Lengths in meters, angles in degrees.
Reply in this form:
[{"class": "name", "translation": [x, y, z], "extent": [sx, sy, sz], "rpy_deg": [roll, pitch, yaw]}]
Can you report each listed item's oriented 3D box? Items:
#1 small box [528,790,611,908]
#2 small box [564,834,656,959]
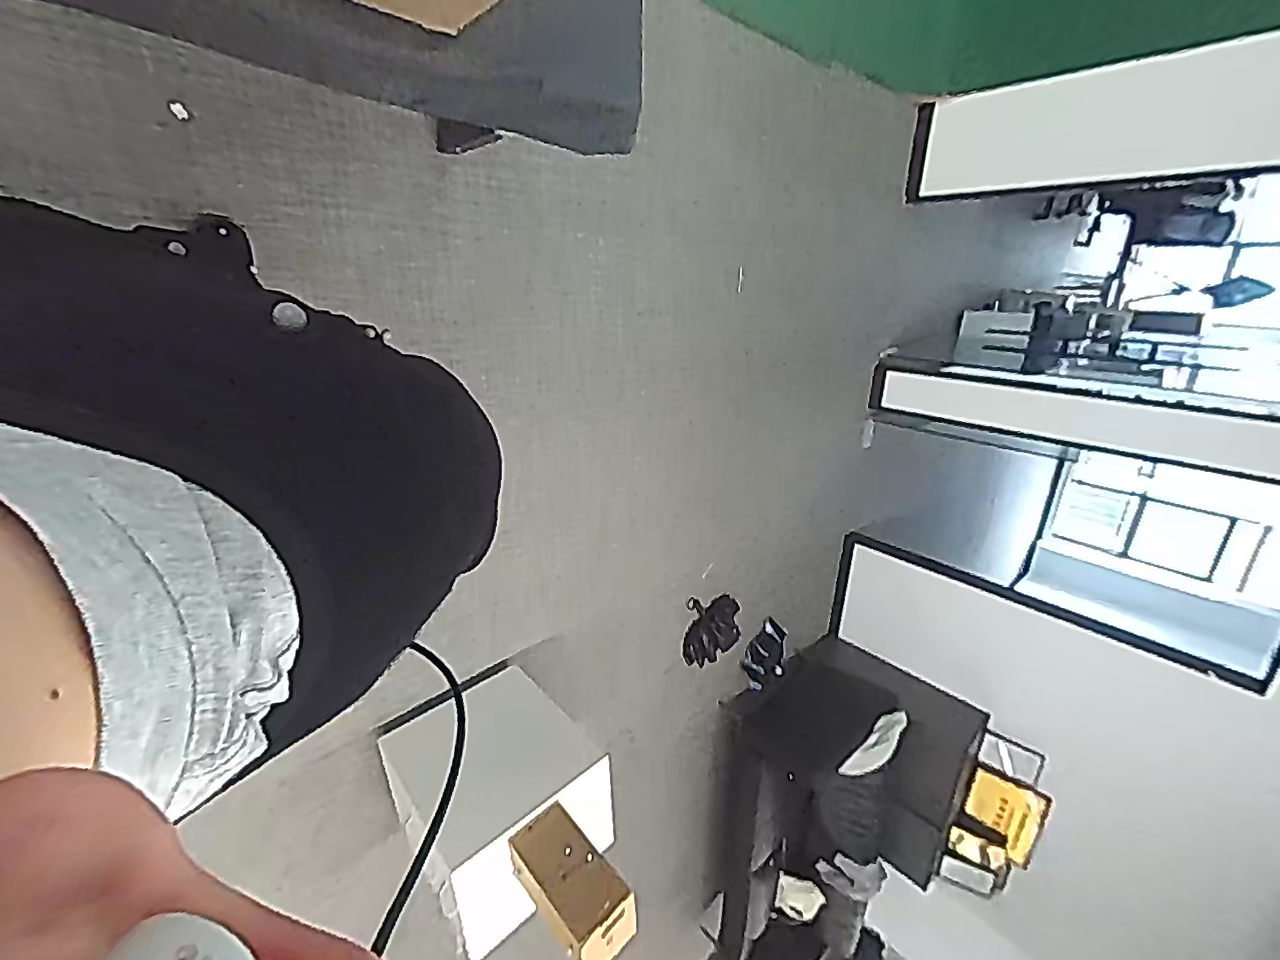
[{"class": "small box", "translation": [-0.190, 1.009, 1.492], "extent": [0.168, 0.176, 0.179], "rpy_deg": [-26, 124, -36]}, {"class": "small box", "translation": [-0.078, 1.055, 1.380], "extent": [0.168, 0.176, 0.179], "rpy_deg": [-25, 124, -36]}]
